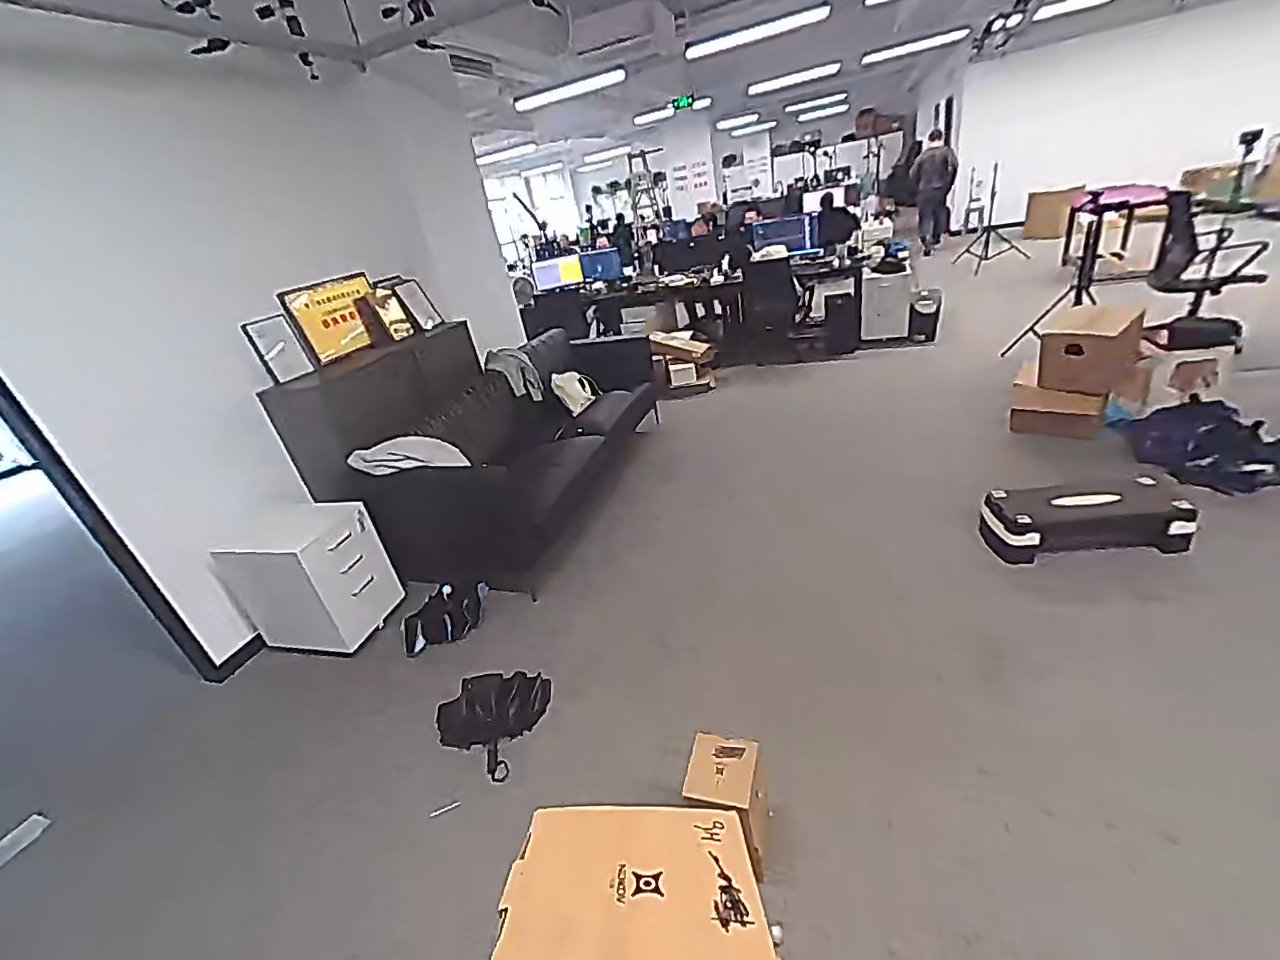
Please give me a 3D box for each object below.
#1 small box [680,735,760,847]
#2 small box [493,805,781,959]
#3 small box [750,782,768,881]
[{"bbox_3d":[0.213,0.796,1.389,0.168,0.176,0.179,-1,29,21],"label":"small box"},{"bbox_3d":[-0.002,0.366,0.386,0.179,0.176,0.168,1,3,0],"label":"small box"},{"bbox_3d":[0.253,0.938,1.463,0.168,0.176,0.179,-2,29,20],"label":"small box"}]
